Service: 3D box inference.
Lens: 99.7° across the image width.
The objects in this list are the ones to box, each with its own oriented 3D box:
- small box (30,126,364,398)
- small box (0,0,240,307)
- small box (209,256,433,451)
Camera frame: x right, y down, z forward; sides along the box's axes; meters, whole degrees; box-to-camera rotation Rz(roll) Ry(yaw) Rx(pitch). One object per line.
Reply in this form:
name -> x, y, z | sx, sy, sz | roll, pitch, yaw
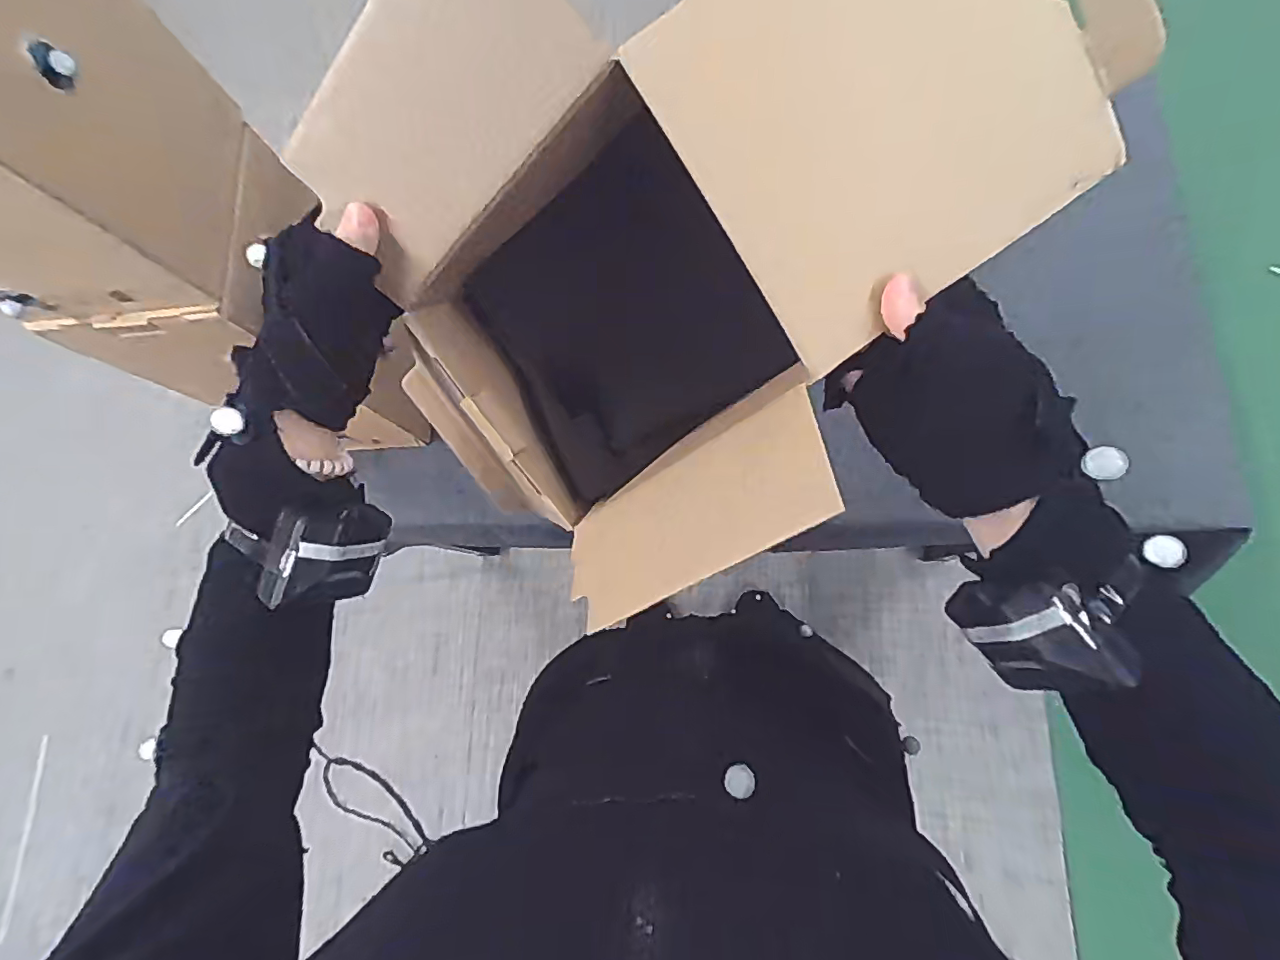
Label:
small box -> -0.387, -0.184, 0.508 | 0.168, 0.176, 0.179 | -3, 77, 5
small box -> -0.404, -0.228, 0.351 | 0.168, 0.176, 0.179 | -4, 76, 4
small box -> -0.372, -0.145, 0.666 | 0.168, 0.176, 0.179 | -3, 77, 5
